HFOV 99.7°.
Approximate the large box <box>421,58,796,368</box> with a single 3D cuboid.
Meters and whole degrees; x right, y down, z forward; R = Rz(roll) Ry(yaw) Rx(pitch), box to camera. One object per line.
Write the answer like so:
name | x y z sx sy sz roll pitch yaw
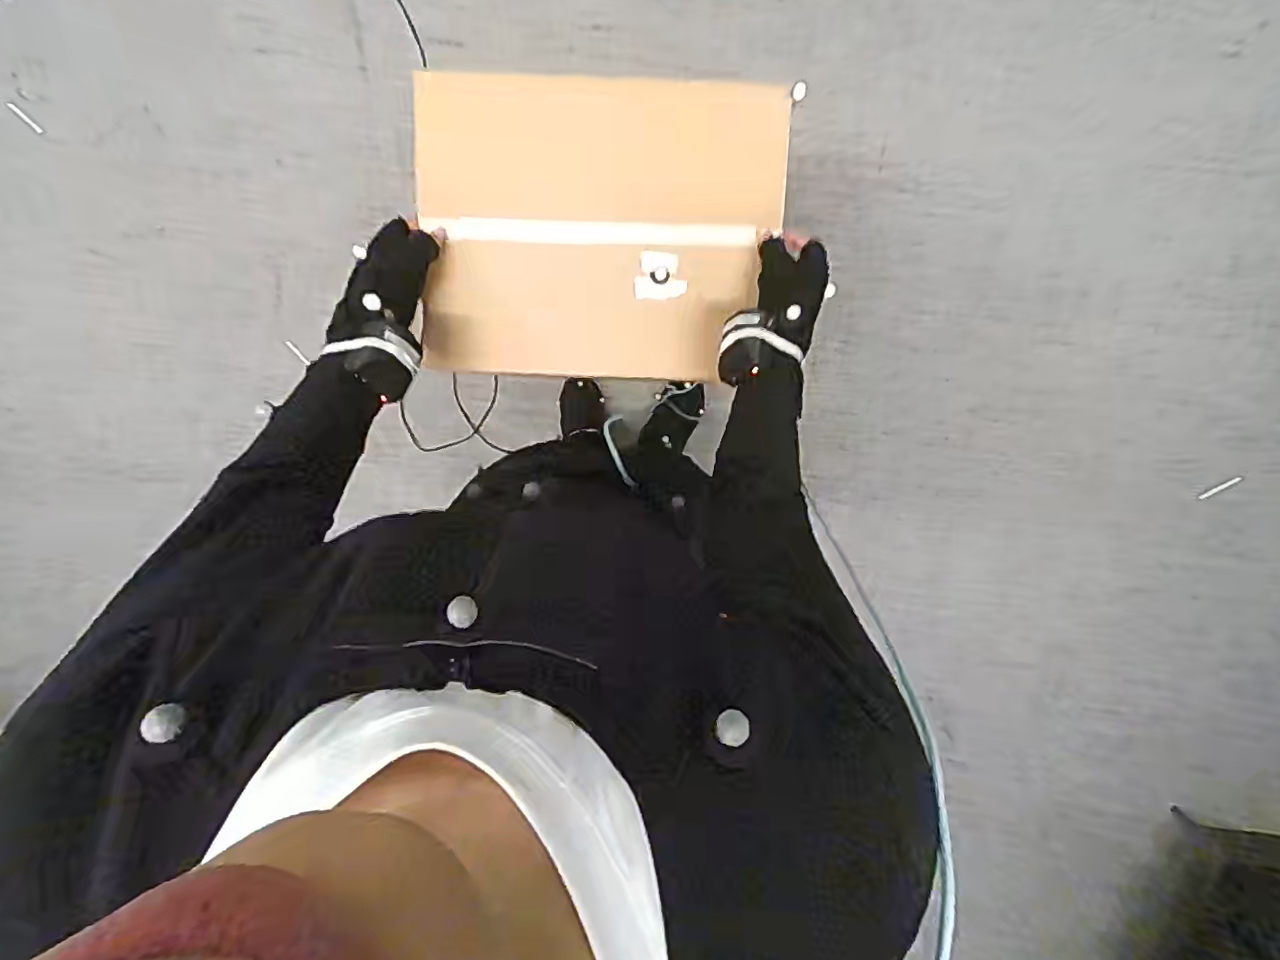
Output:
large box | -0.038 -0.317 0.743 0.408 0.320 0.320 1 101 -1
